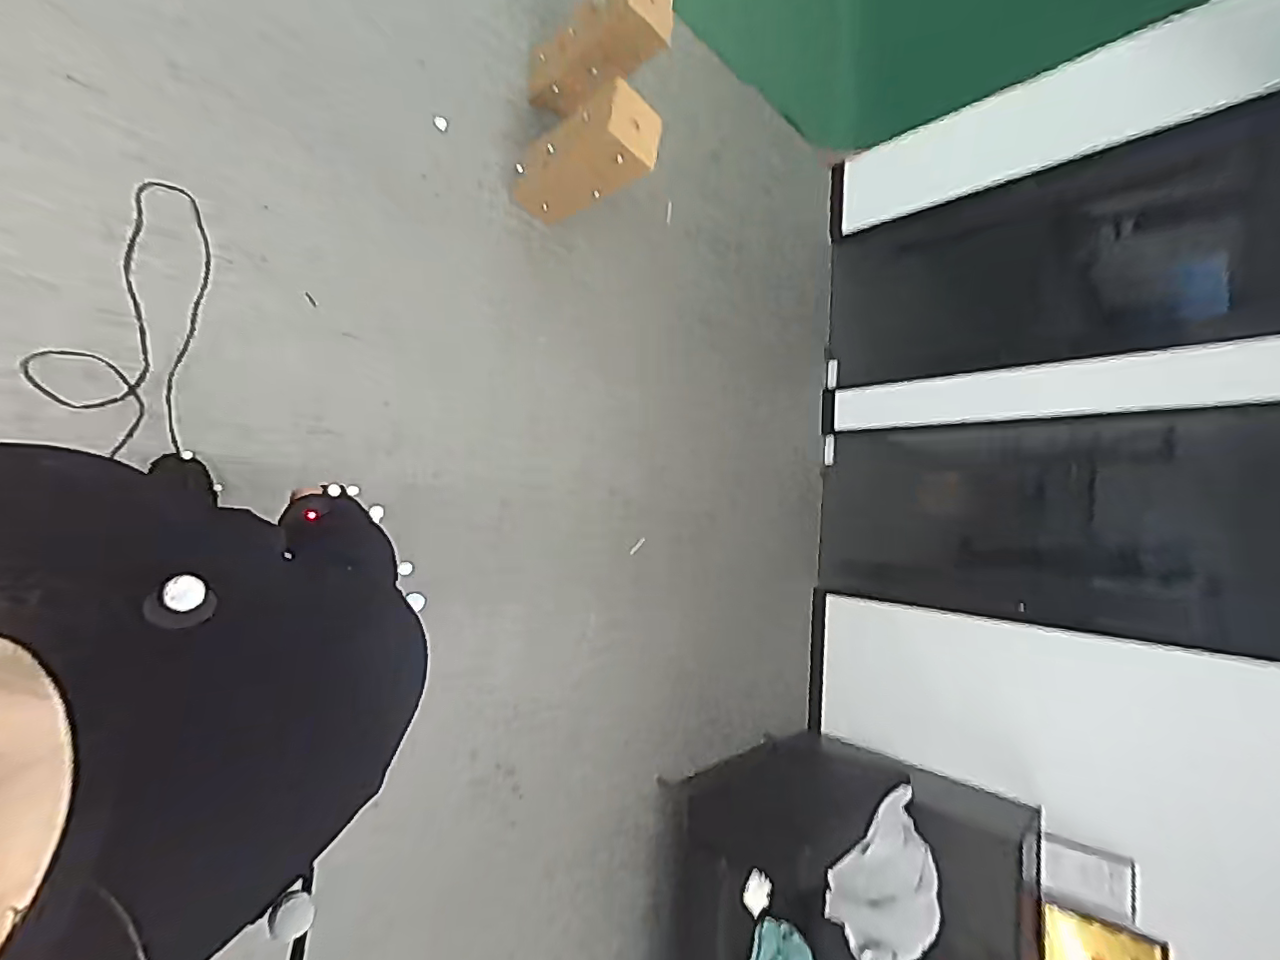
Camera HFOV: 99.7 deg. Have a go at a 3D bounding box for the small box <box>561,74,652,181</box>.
[{"bbox_3d":[-0.096,-0.983,1.532,0.179,0.176,0.168,17,79,-44],"label":"small box"}]

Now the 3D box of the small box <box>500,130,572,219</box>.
[{"bbox_3d":[-0.328,-0.984,1.763,0.179,0.176,0.168,16,79,-43],"label":"small box"}]

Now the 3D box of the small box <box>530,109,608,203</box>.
[{"bbox_3d":[-0.208,-0.979,1.650,0.179,0.176,0.168,13,80,-45],"label":"small box"}]

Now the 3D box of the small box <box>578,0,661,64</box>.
[{"bbox_3d":[-0.059,-1.360,1.566,0.179,0.176,0.168,5,85,-45],"label":"small box"}]
